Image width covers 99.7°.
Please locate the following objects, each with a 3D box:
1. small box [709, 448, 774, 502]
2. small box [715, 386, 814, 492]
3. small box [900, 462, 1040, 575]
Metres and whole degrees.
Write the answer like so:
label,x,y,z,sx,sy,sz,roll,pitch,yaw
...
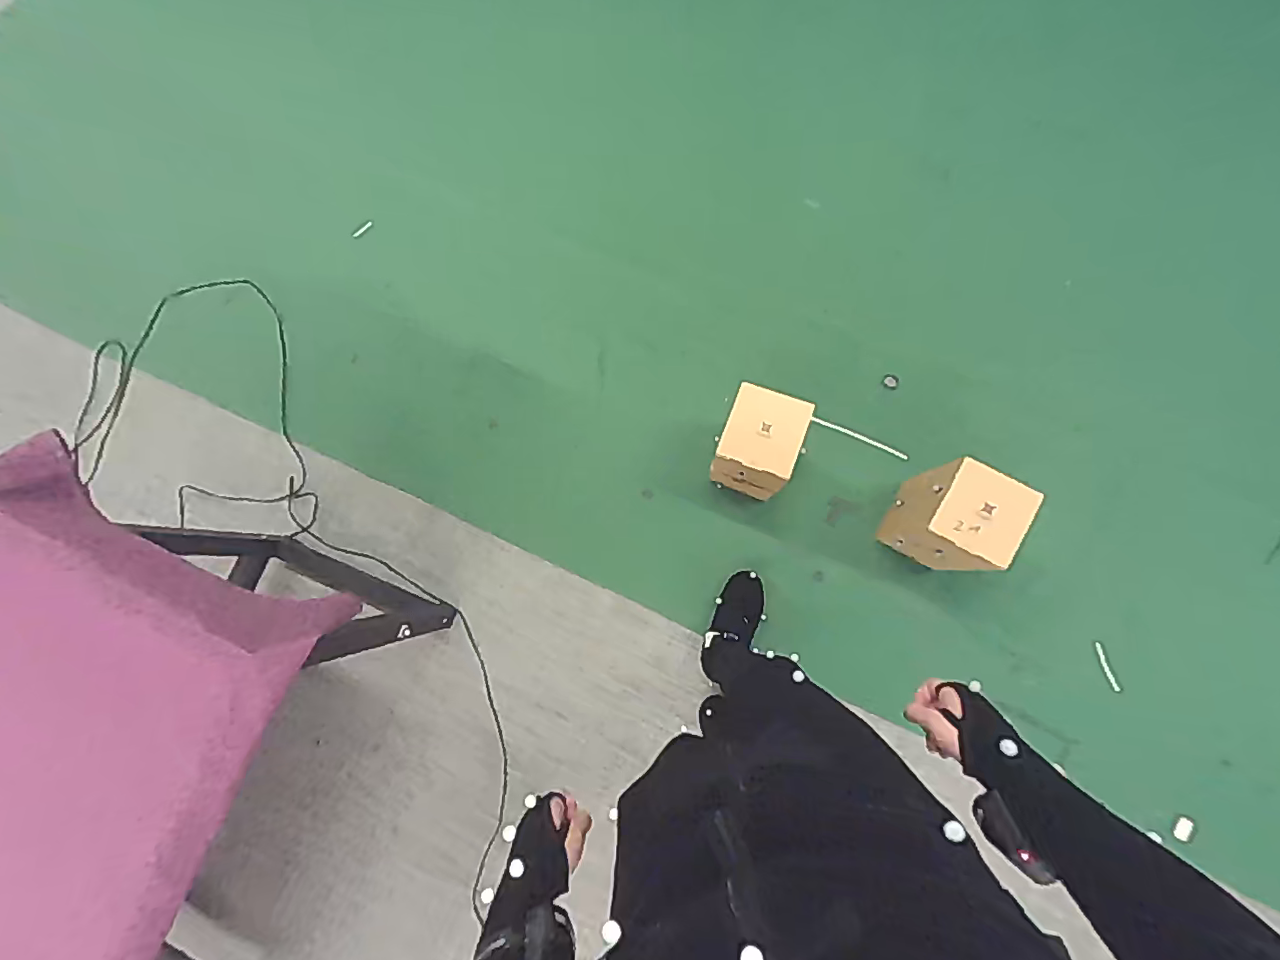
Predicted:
label,x,y,z,sx,sy,sz,roll,pitch,yaw
small box,0.285,-0.054,1.394,0.168,0.176,0.179,22,83,9
small box,0.275,-0.086,1.235,0.168,0.176,0.179,20,84,8
small box,0.694,0.087,1.161,0.168,0.176,0.179,31,86,10
